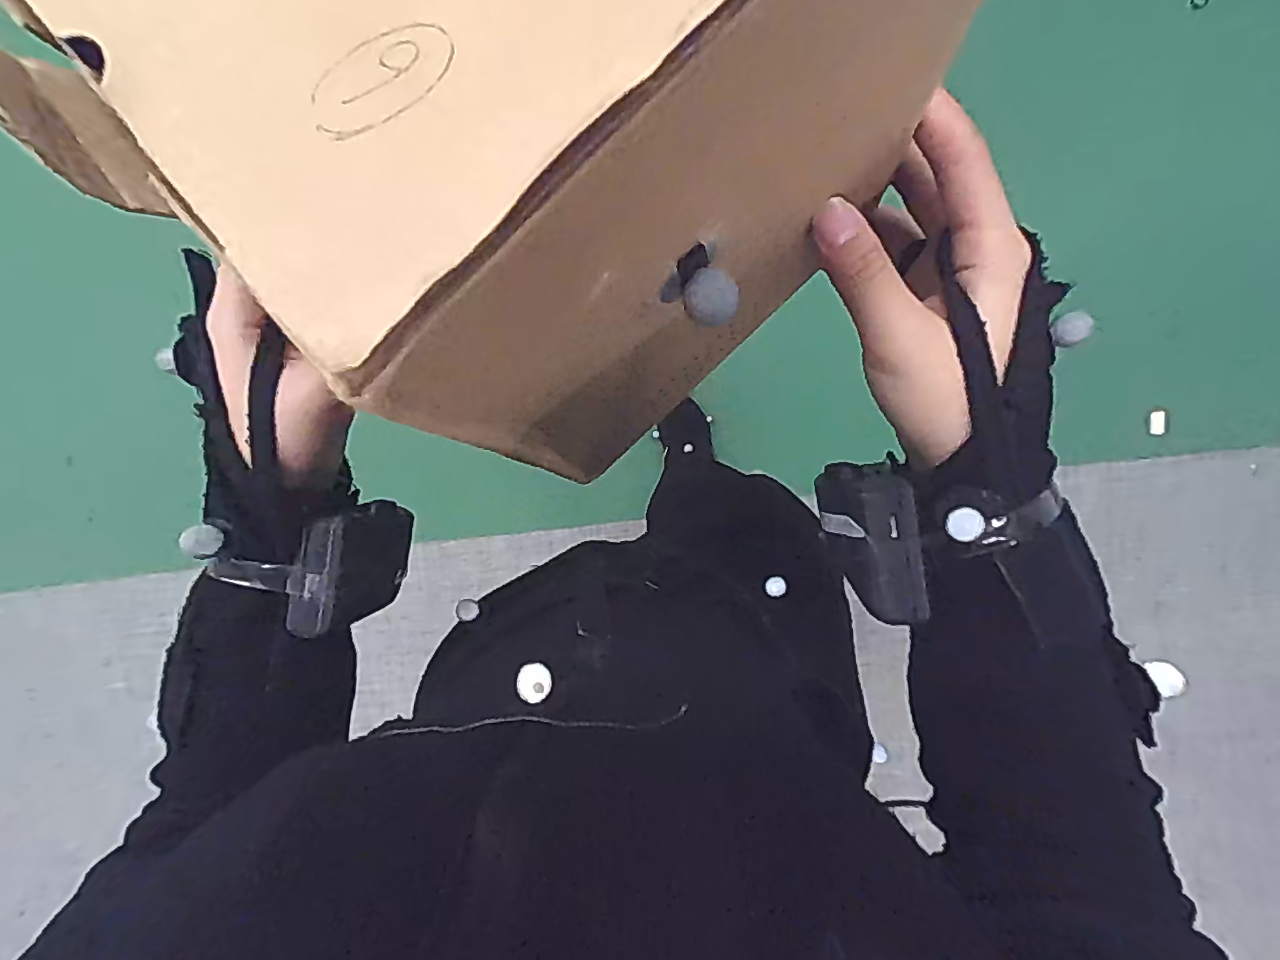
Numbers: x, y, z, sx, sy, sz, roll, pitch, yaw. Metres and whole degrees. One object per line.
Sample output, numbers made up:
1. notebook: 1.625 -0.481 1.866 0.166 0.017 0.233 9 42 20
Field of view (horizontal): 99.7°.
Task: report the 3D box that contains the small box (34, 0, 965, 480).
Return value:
1. small box: -0.022 -0.116 0.188 0.179 0.176 0.168 -44 81 2
